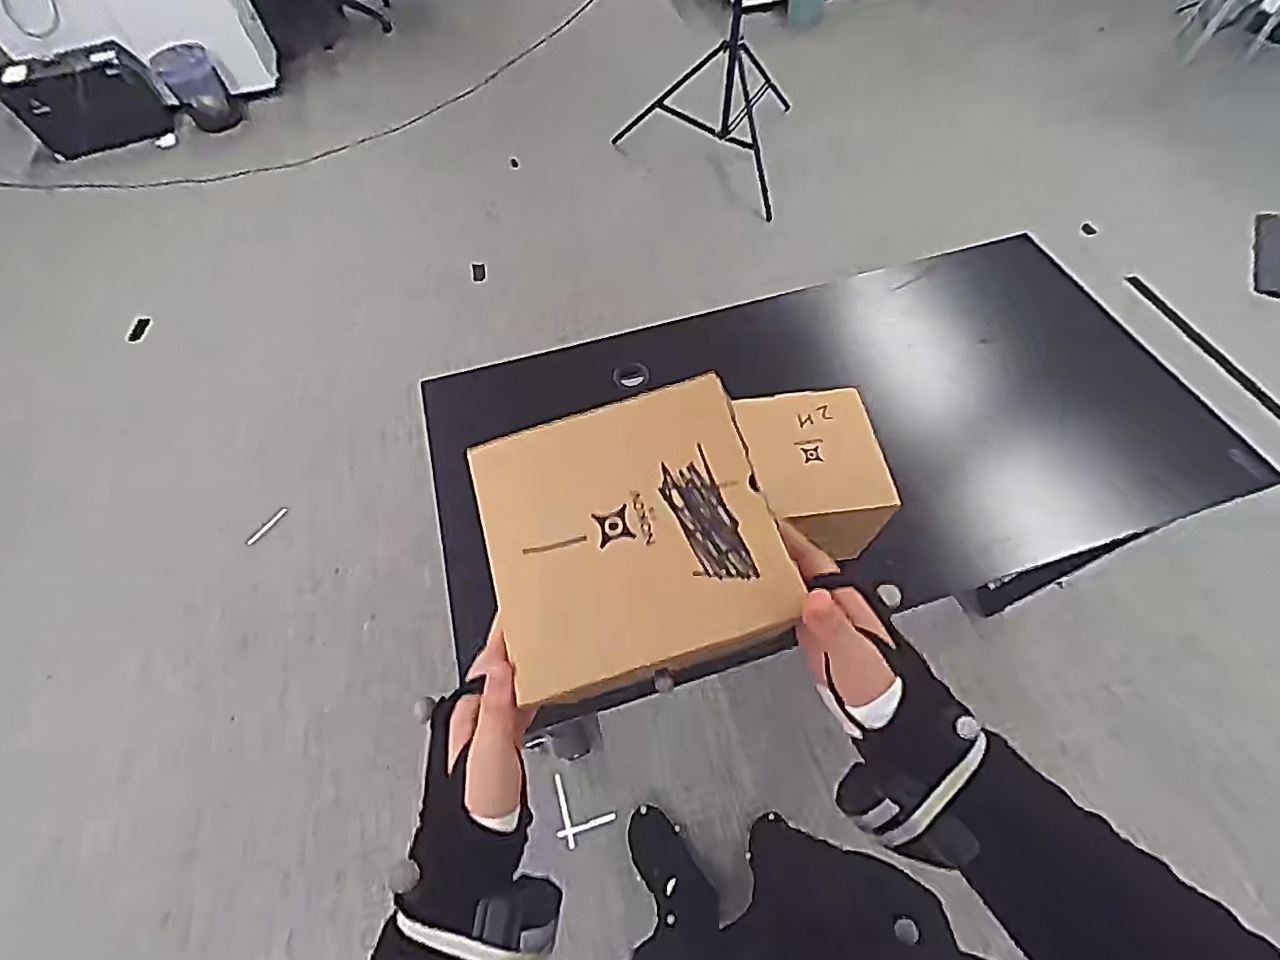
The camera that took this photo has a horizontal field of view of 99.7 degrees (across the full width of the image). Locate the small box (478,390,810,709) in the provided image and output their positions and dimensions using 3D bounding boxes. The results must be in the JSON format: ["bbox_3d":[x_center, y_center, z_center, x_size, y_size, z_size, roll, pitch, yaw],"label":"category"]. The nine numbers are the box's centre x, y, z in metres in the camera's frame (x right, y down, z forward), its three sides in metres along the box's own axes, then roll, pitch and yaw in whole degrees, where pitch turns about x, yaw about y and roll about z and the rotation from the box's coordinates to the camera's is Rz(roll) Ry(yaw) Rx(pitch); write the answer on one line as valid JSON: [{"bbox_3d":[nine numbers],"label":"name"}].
[{"bbox_3d":[0.001,0.062,0.412,0.179,0.176,0.168,-18,67,-2],"label":"small box"}]

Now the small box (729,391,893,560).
[{"bbox_3d":[0.207,0.006,0.732,0.168,0.176,0.179,-6,60,-2],"label":"small box"}]
